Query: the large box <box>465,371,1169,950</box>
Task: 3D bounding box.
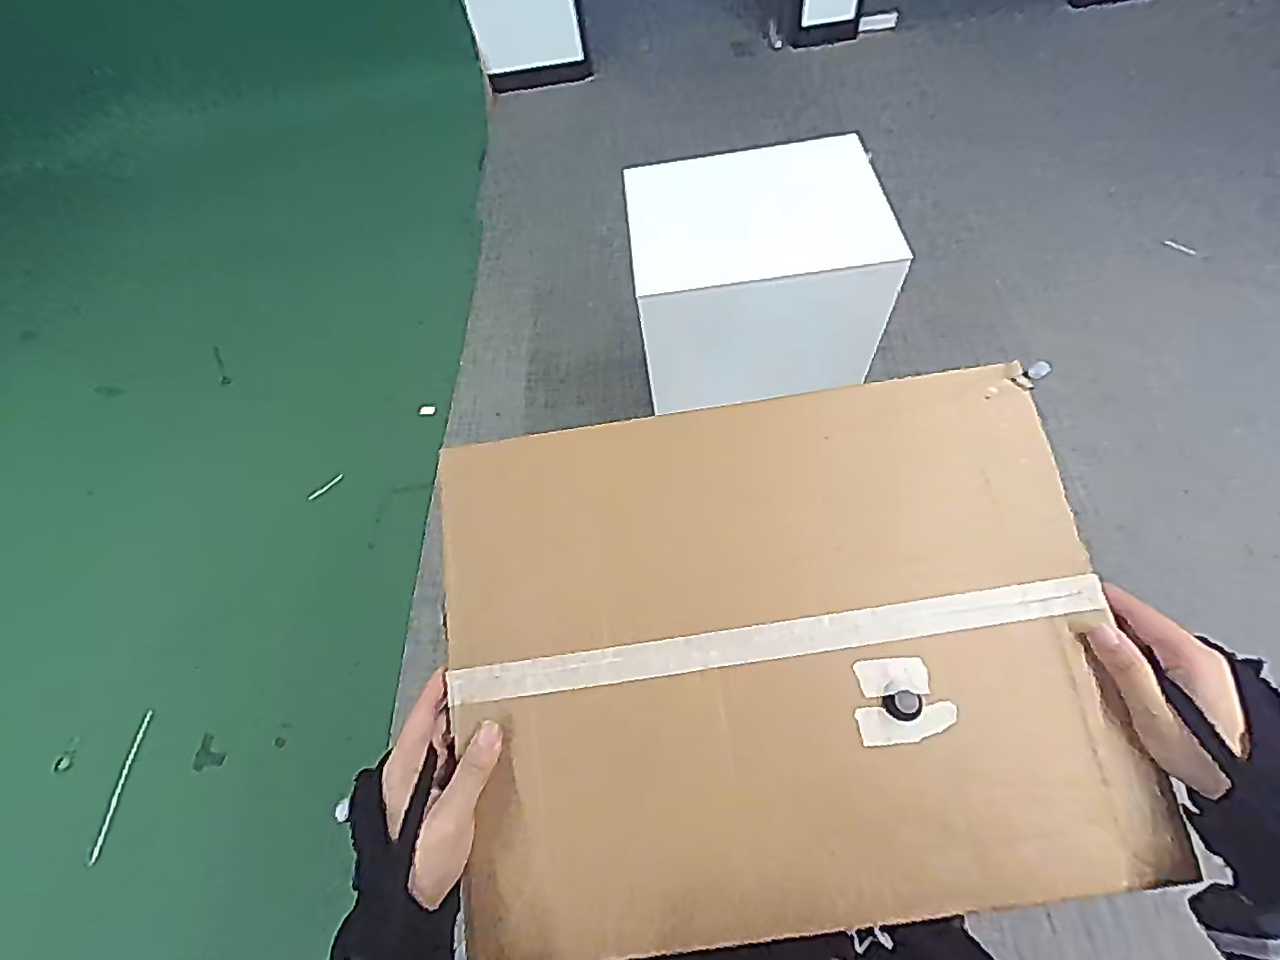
[{"bbox_3d":[0.095,0.135,0.494,0.408,0.320,0.320,-8,76,0],"label":"large box"}]
